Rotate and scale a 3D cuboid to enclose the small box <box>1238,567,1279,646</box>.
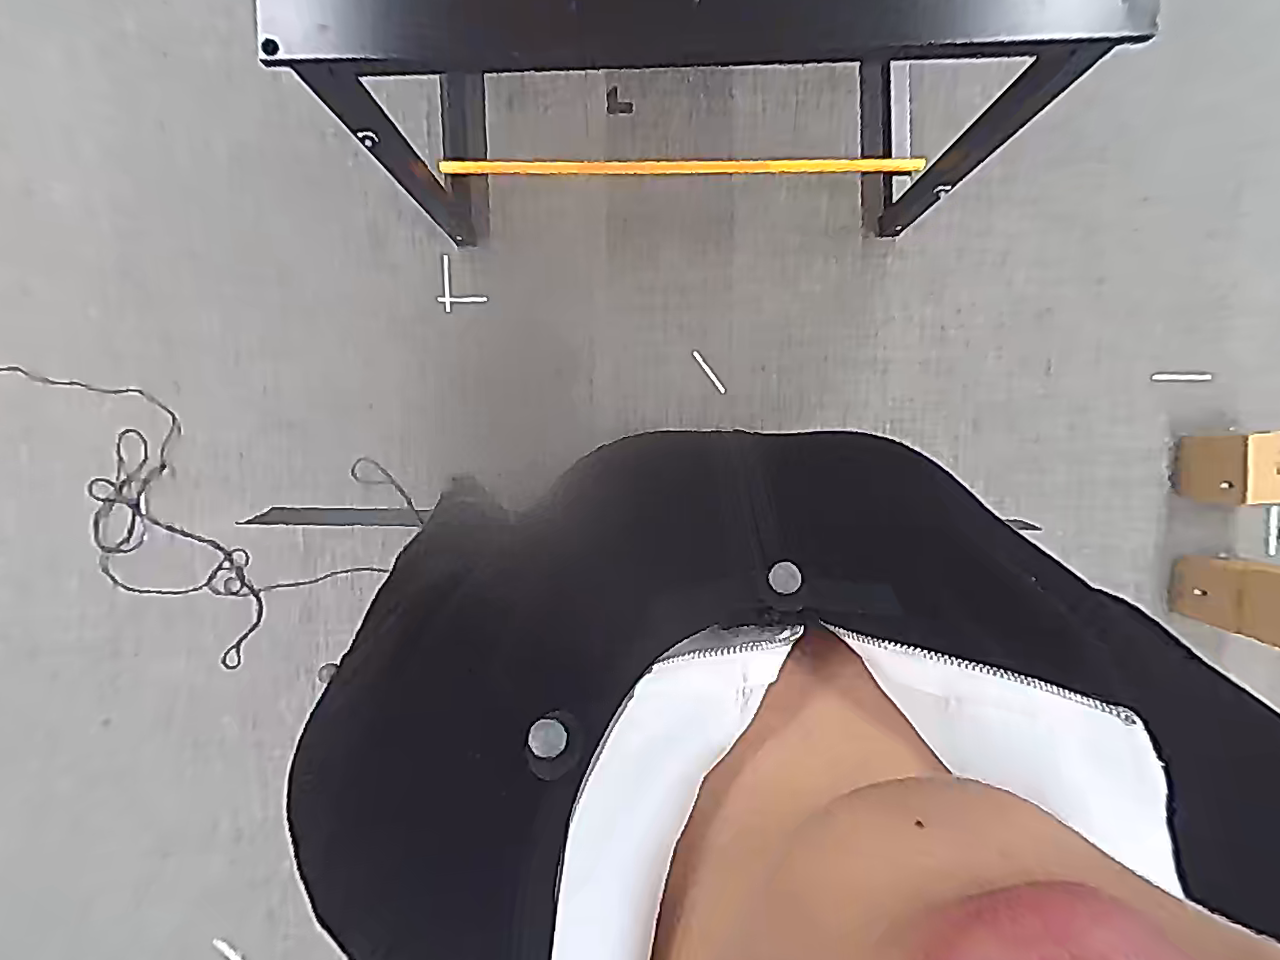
[{"bbox_3d":[1.548,0.300,1.244,0.168,0.176,0.179,0,94,1],"label":"small box"}]

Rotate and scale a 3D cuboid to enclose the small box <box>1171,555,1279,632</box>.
[{"bbox_3d":[1.551,0.294,1.409,0.179,0.176,0.168,1,94,2],"label":"small box"}]

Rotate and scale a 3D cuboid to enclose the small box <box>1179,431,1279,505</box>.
[{"bbox_3d":[1.542,-0.033,1.386,0.168,0.176,0.179,-3,93,1],"label":"small box"}]
